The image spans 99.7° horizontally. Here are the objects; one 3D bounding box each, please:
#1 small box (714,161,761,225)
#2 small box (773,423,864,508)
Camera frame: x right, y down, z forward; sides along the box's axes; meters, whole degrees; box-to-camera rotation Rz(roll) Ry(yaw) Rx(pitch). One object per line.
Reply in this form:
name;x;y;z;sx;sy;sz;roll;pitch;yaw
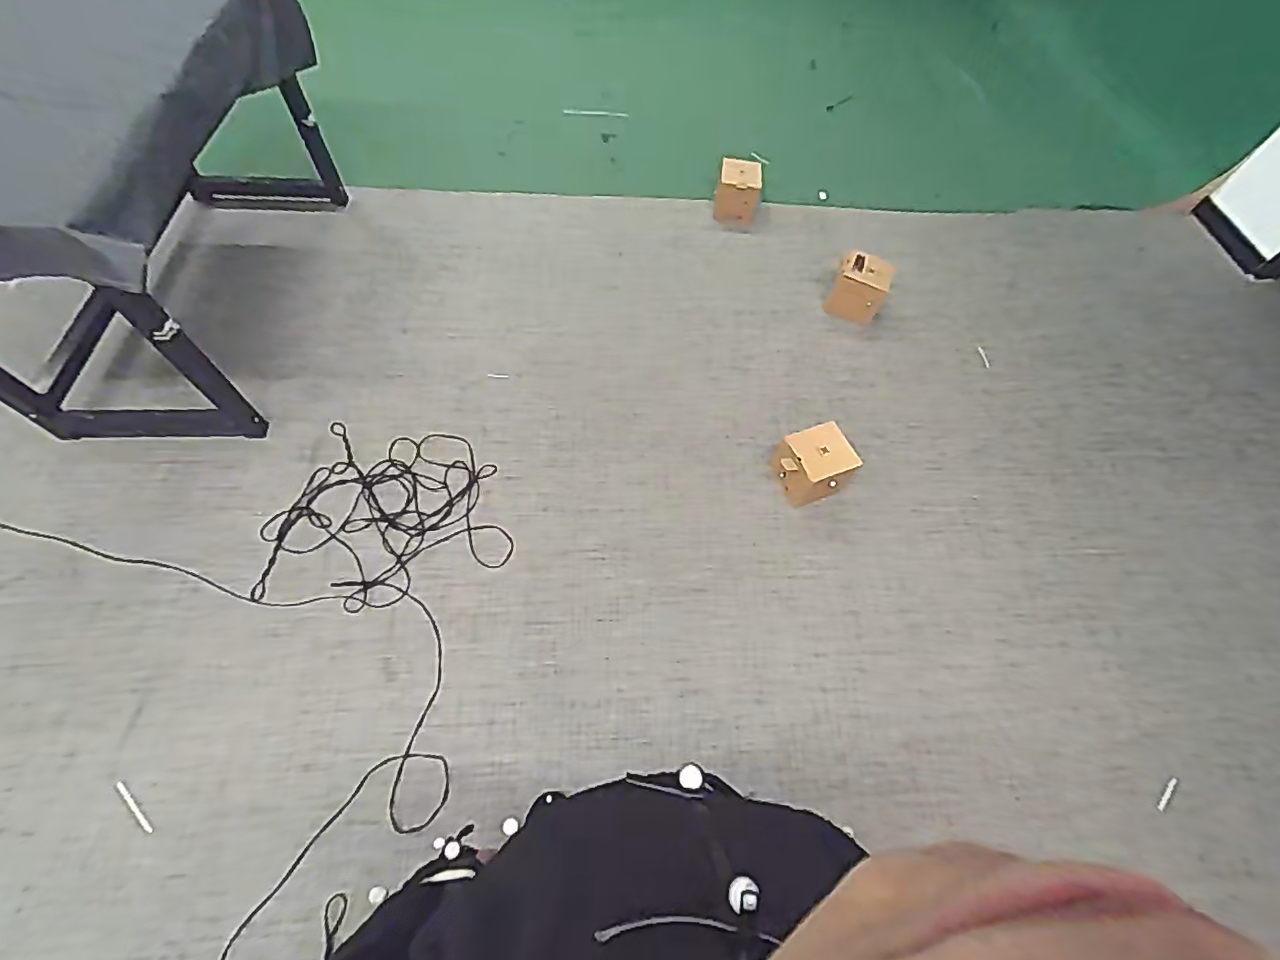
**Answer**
small box;0.409;-1.206;2.277;0.168;0.176;0.179;7;60;-2
small box;0.530;-0.041;1.631;0.179;0.176;0.168;-19;64;-13
